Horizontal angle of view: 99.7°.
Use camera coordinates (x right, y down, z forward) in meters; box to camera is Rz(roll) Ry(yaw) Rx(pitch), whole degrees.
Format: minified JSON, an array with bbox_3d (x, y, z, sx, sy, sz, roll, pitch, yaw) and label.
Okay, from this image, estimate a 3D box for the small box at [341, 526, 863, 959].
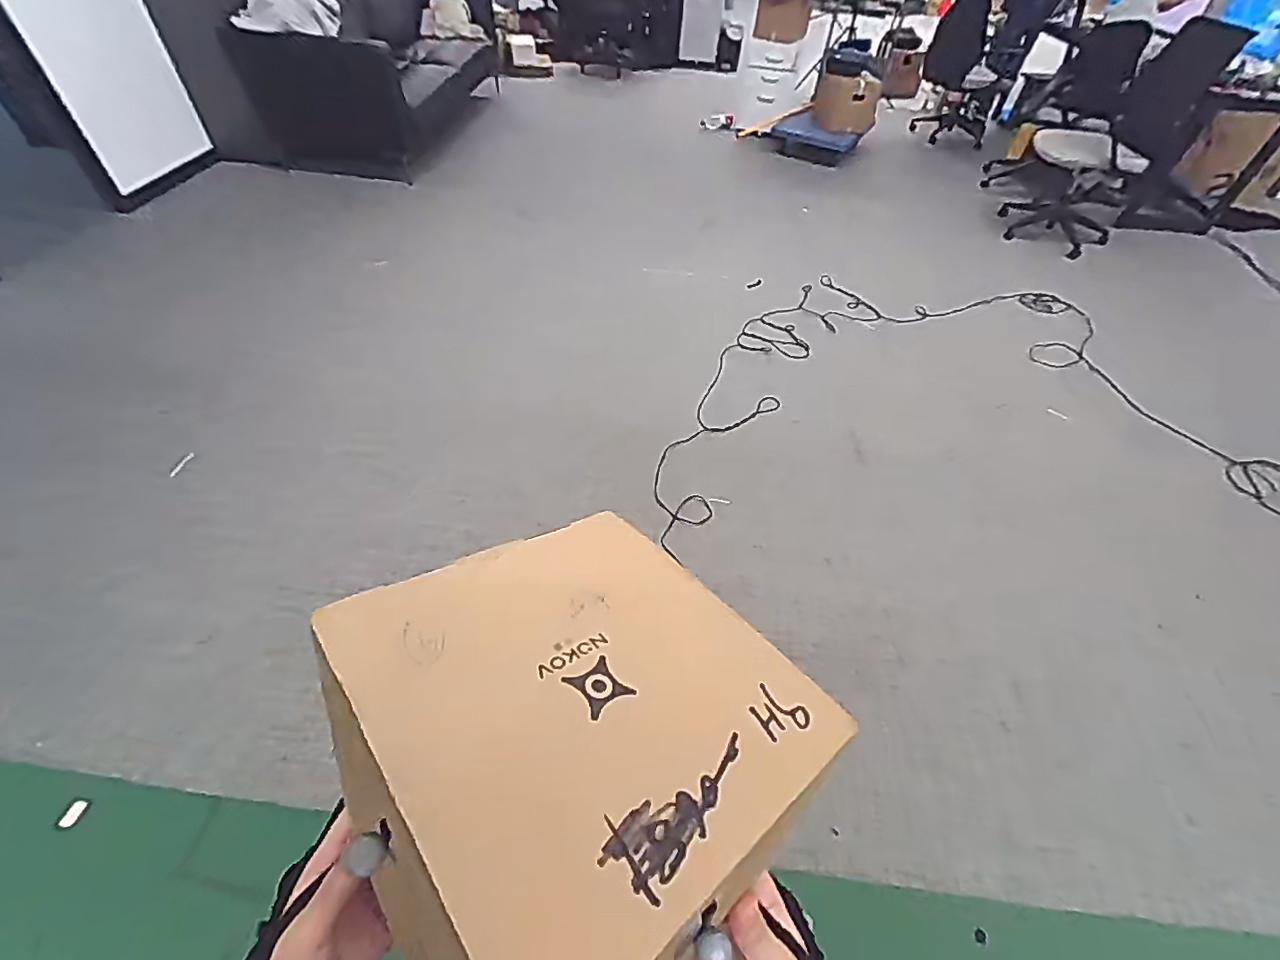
[{"bbox_3d":[-0.030,0.156,0.276,0.168,0.176,0.179,-19,43,-39],"label":"small box"}]
